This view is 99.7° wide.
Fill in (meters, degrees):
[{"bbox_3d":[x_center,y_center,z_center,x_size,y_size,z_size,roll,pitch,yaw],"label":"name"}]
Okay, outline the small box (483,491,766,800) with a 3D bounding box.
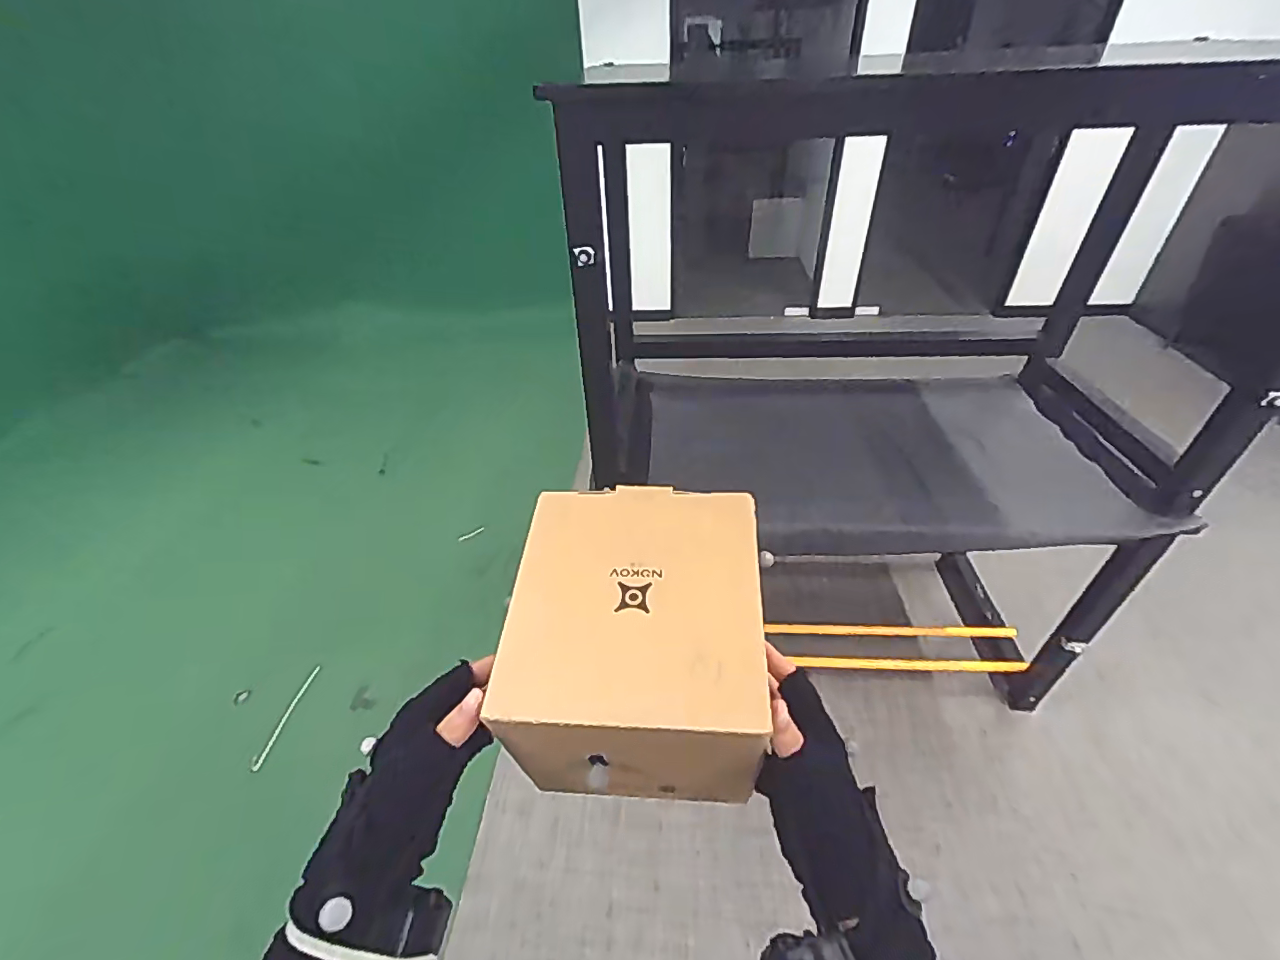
[{"bbox_3d":[0.003,0.127,0.414,0.168,0.176,0.179,0,46,6],"label":"small box"}]
